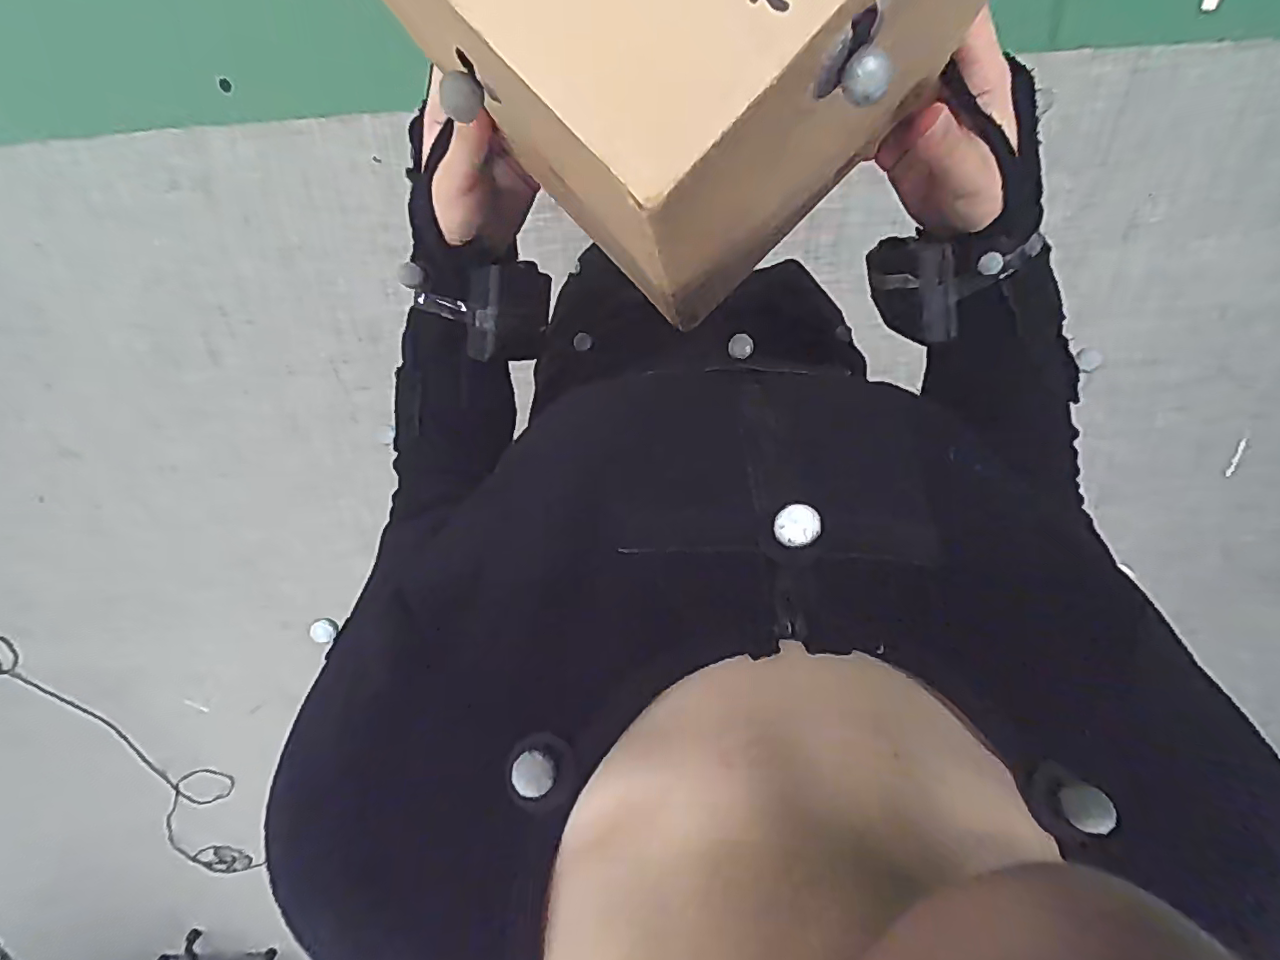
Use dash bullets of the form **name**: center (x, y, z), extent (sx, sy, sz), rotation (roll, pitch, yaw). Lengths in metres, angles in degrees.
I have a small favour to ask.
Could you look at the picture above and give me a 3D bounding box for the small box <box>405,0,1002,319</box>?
- **small box**: center (0.019, -0.187, 0.204), extent (0.168, 0.176, 0.179), rotation (-44, 88, 10)
